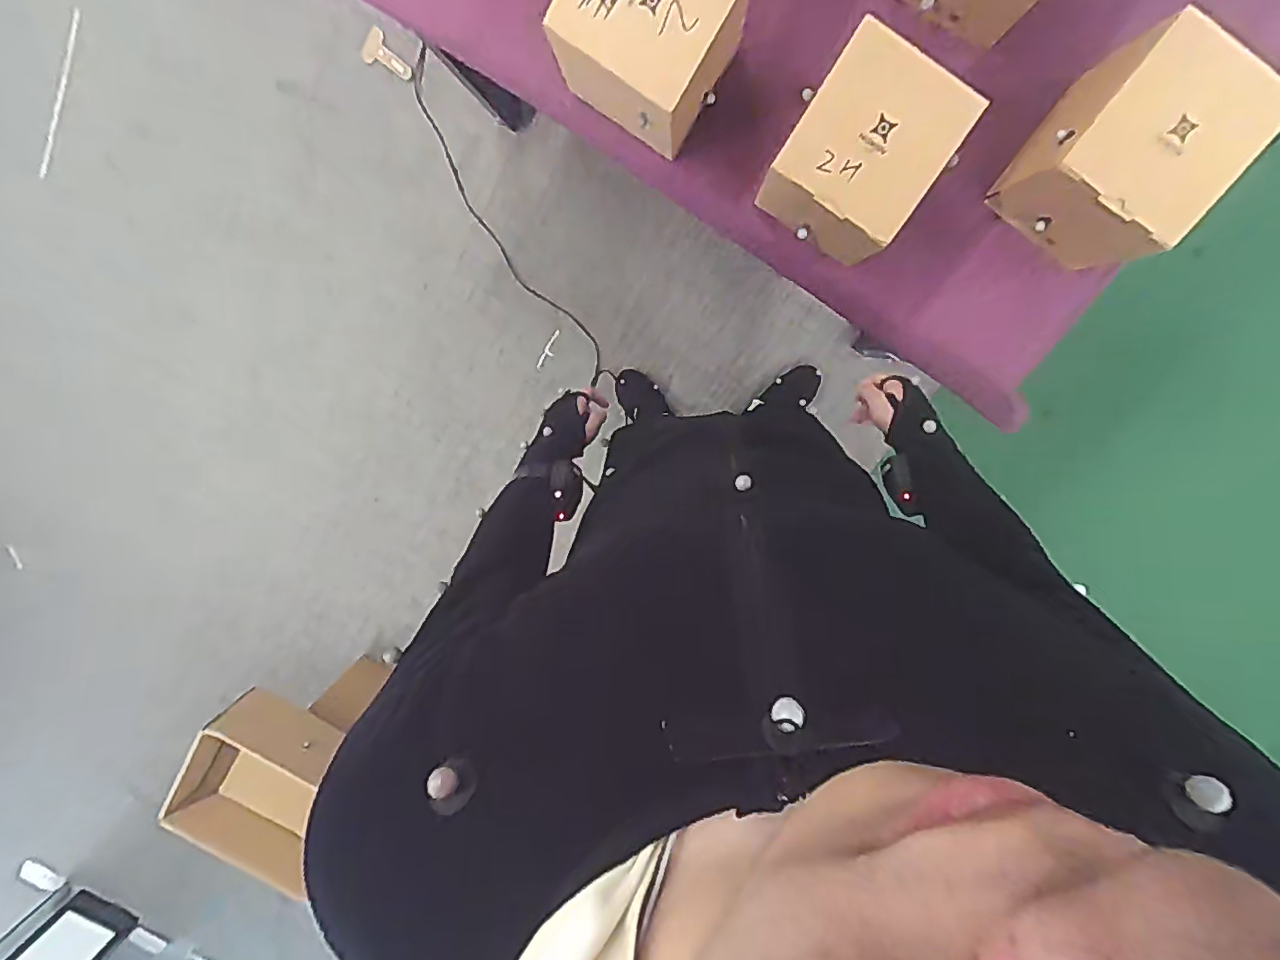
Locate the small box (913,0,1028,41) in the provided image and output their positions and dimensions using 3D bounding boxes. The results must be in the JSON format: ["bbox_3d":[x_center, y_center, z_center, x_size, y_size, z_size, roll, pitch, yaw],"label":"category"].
[{"bbox_3d":[0.412,-0.654,0.598,0.168,0.176,0.179,31,107,-2],"label":"small box"}]

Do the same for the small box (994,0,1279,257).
[{"bbox_3d":[0.583,-0.398,0.651,0.168,0.176,0.179,34,106,-4],"label":"small box"}]

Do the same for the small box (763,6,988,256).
[{"bbox_3d":[0.271,-0.411,0.676,0.168,0.176,0.179,33,105,-3],"label":"small box"}]
